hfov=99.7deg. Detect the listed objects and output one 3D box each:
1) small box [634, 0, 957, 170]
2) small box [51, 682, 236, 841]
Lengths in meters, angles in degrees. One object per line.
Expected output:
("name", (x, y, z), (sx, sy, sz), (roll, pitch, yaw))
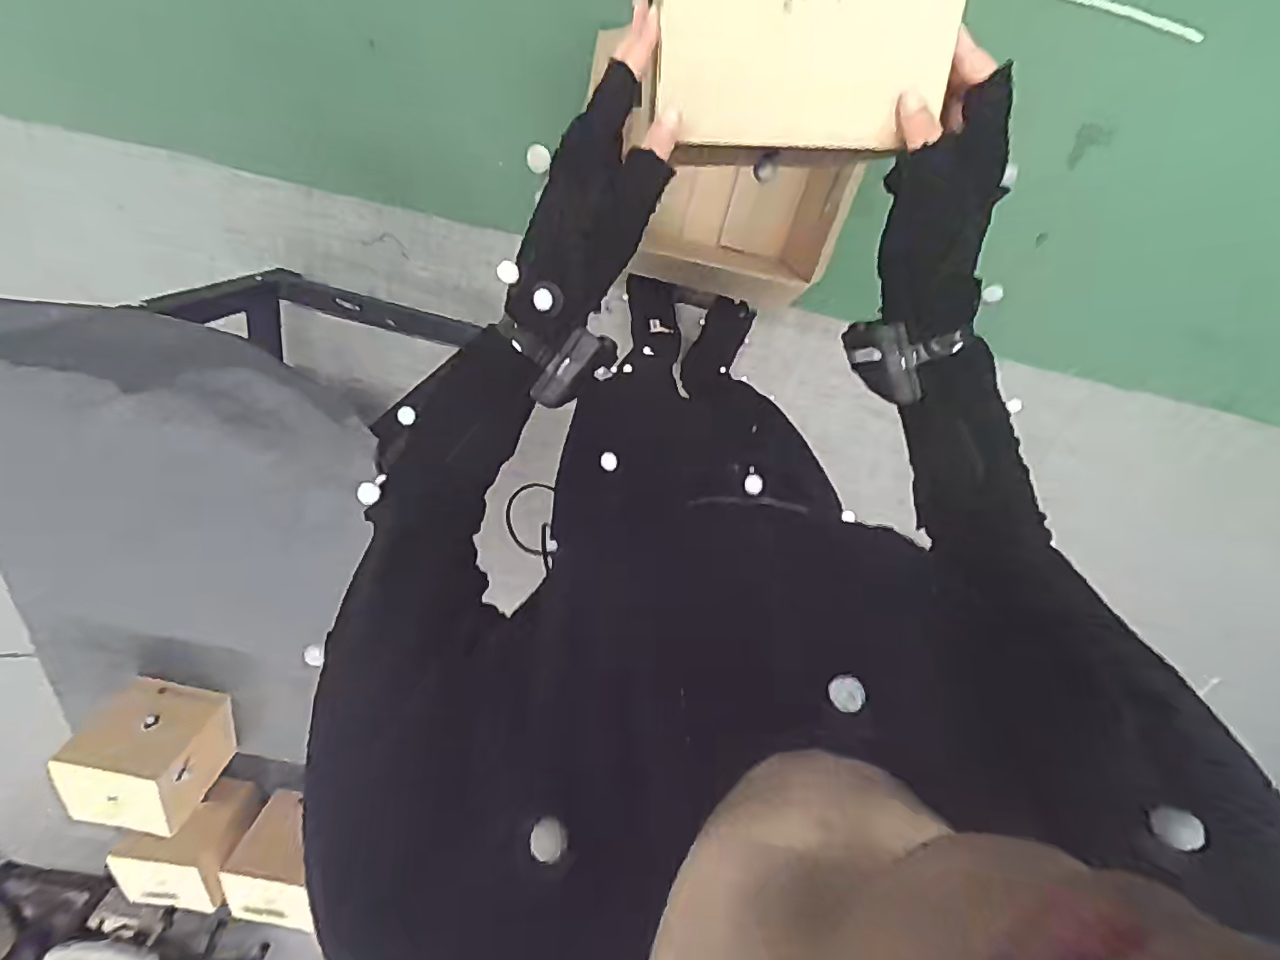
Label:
("small box", (0.087, -0.309, 0.363), (0.179, 0.176, 0.168), (0, 117, -2))
("small box", (-0.854, 0.488, 0.952), (0.168, 0.176, 0.179), (16, 118, -5))
